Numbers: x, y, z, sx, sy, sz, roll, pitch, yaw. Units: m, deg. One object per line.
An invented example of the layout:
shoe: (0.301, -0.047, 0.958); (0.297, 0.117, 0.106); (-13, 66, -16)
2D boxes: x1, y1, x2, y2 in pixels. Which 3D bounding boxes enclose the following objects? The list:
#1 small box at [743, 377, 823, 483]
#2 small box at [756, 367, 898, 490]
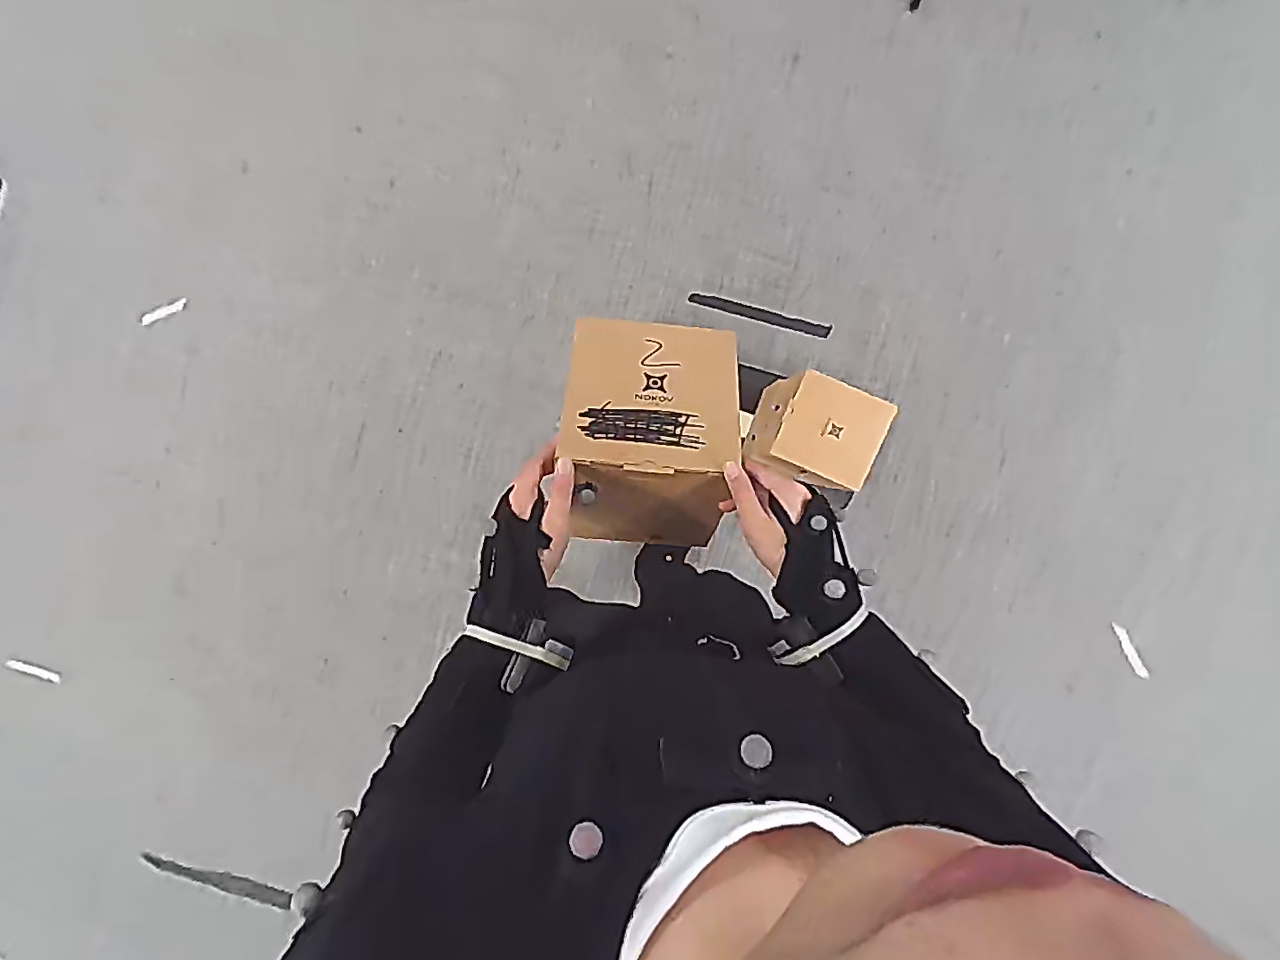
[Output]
small box: (0.334, -0.105, 1.181); (0.168, 0.176, 0.179); (21, 93, 0)
small box: (0.340, -0.095, 1.019); (0.179, 0.176, 0.168); (24, 93, 2)
